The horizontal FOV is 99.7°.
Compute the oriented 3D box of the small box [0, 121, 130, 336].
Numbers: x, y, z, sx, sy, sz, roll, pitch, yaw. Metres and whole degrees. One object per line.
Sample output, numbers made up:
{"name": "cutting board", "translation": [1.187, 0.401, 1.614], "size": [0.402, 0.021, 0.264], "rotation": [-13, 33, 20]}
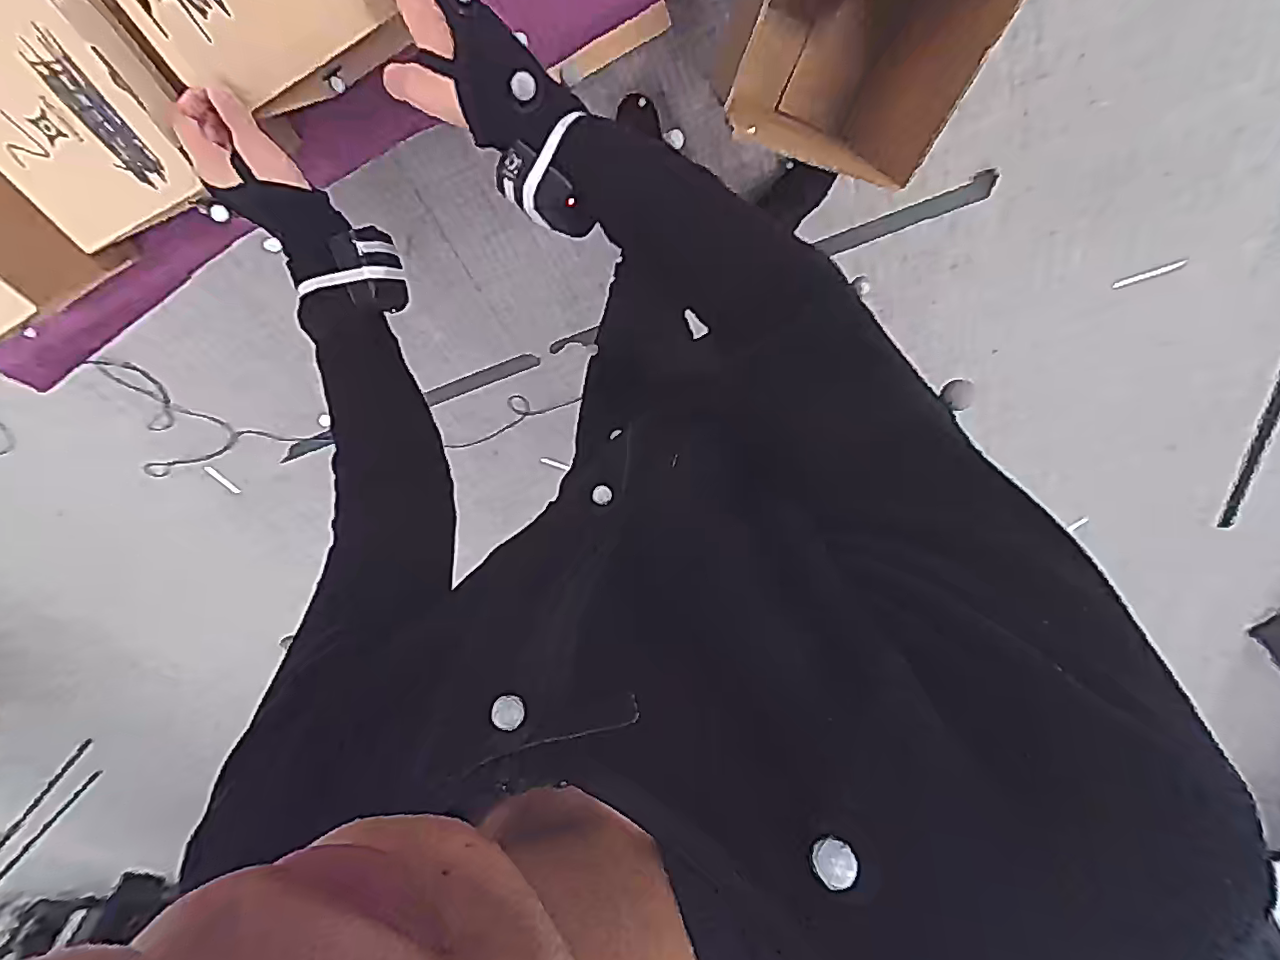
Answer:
{"name": "small box", "translation": [-0.740, -0.263, 0.598], "size": [0.179, 0.176, 0.168], "rotation": [-18, 130, 16]}

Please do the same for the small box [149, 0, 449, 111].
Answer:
{"name": "small box", "translation": [-0.283, -0.434, 0.433], "size": [0.179, 0.176, 0.168], "rotation": [-18, 129, 17]}
